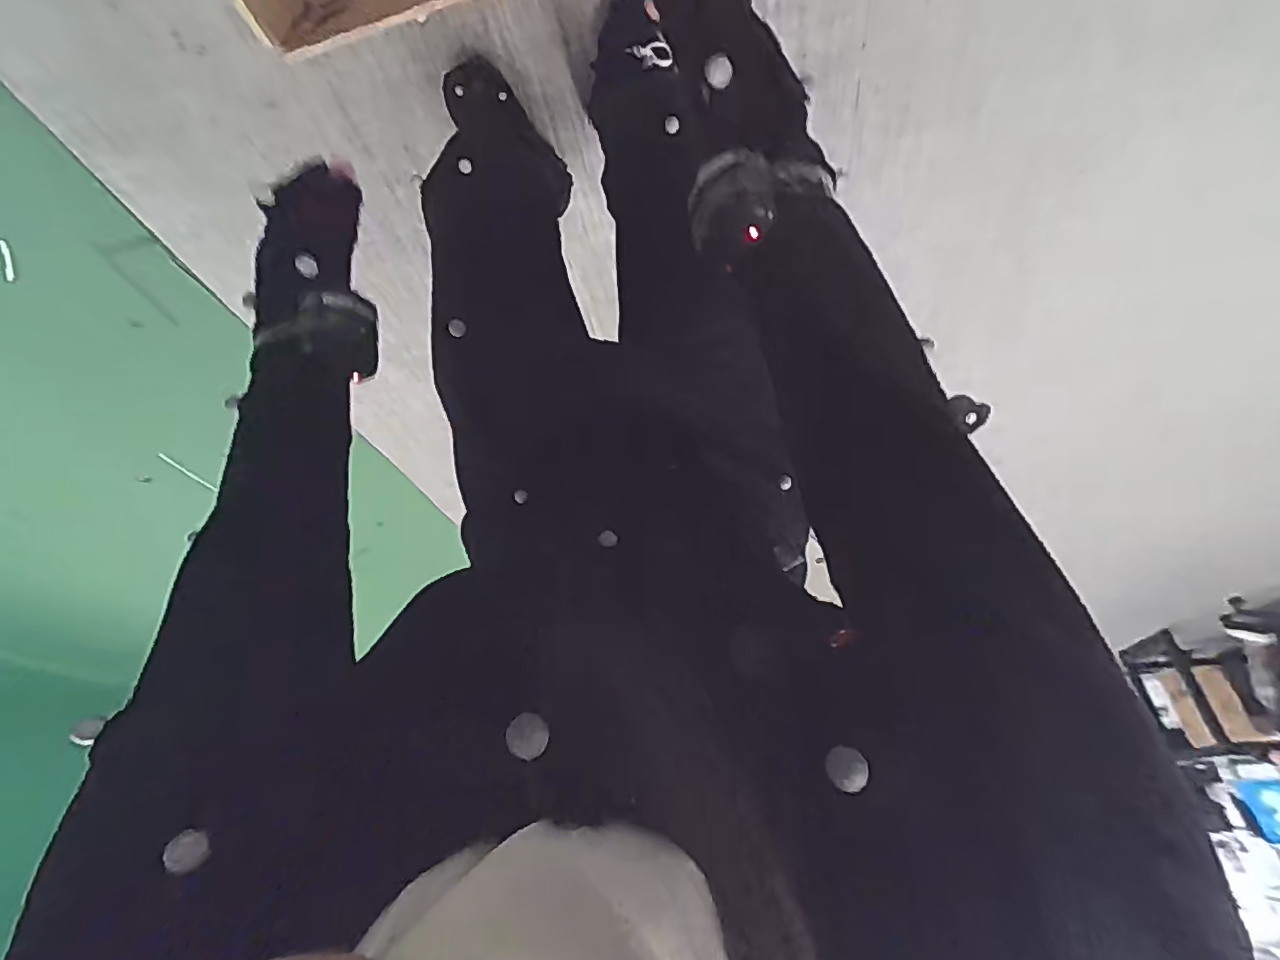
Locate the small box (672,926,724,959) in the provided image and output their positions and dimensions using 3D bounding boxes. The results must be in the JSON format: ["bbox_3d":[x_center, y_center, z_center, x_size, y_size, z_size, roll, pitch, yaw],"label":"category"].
[{"bbox_3d":[0.218,1.778,2.008,0.168,0.176,0.179,-11,144,13],"label":"small box"}]
